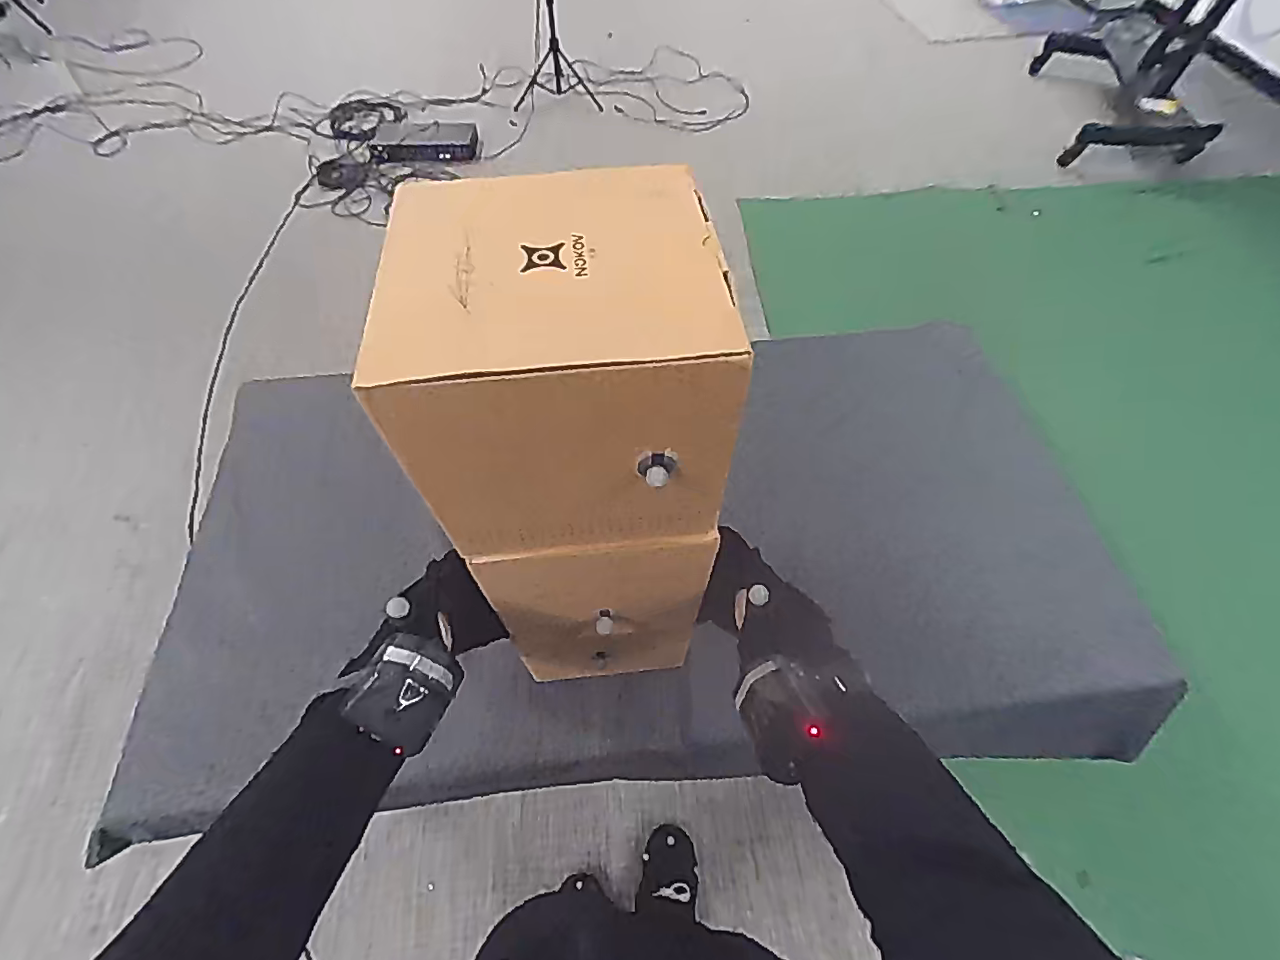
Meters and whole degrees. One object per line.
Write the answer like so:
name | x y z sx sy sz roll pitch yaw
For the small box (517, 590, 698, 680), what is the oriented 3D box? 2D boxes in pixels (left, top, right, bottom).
small box | -0.044 0.119 0.620 0.179 0.176 0.168 -7 59 -7

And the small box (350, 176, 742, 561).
small box | -0.048 -0.063 0.347 0.179 0.176 0.168 -7 56 -3

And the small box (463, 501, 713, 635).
small box | -0.044 0.028 0.481 0.179 0.176 0.168 -4 56 -4
